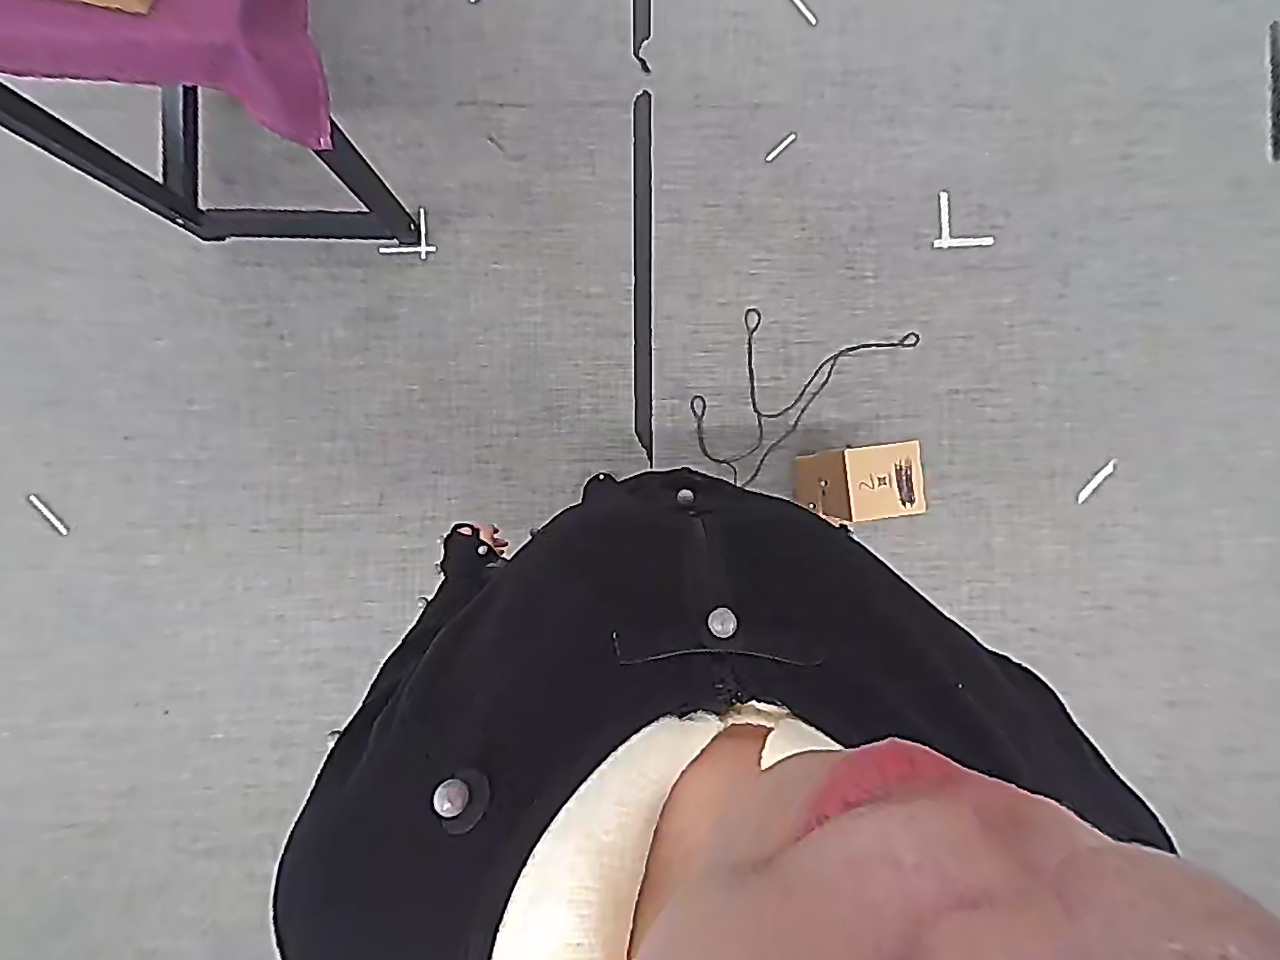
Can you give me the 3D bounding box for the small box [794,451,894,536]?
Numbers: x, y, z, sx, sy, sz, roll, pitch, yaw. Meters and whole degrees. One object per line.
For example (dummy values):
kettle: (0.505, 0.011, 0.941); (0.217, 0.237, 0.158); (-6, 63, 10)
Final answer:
small box: (0.528, 0.033, 1.409); (0.179, 0.176, 0.168); (-9, 111, -20)
